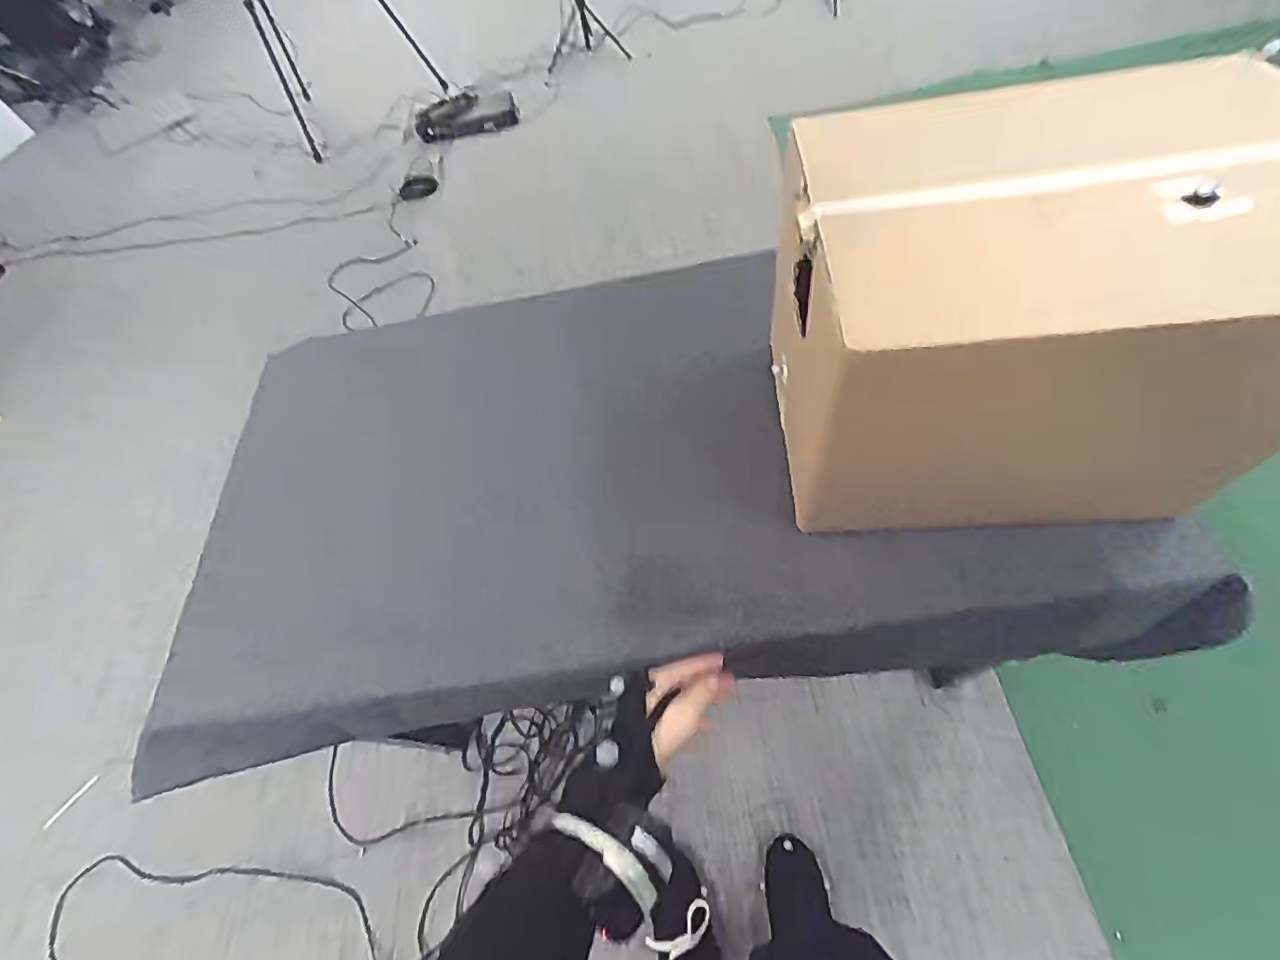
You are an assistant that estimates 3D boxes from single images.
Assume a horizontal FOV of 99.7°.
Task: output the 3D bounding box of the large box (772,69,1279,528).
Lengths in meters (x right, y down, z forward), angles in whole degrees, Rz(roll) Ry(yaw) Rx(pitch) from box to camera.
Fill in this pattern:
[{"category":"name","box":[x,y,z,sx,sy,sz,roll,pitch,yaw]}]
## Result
[{"category":"large box","box":[0.369,-0.159,0.567,0.408,0.320,0.320,-3,60,7]}]
